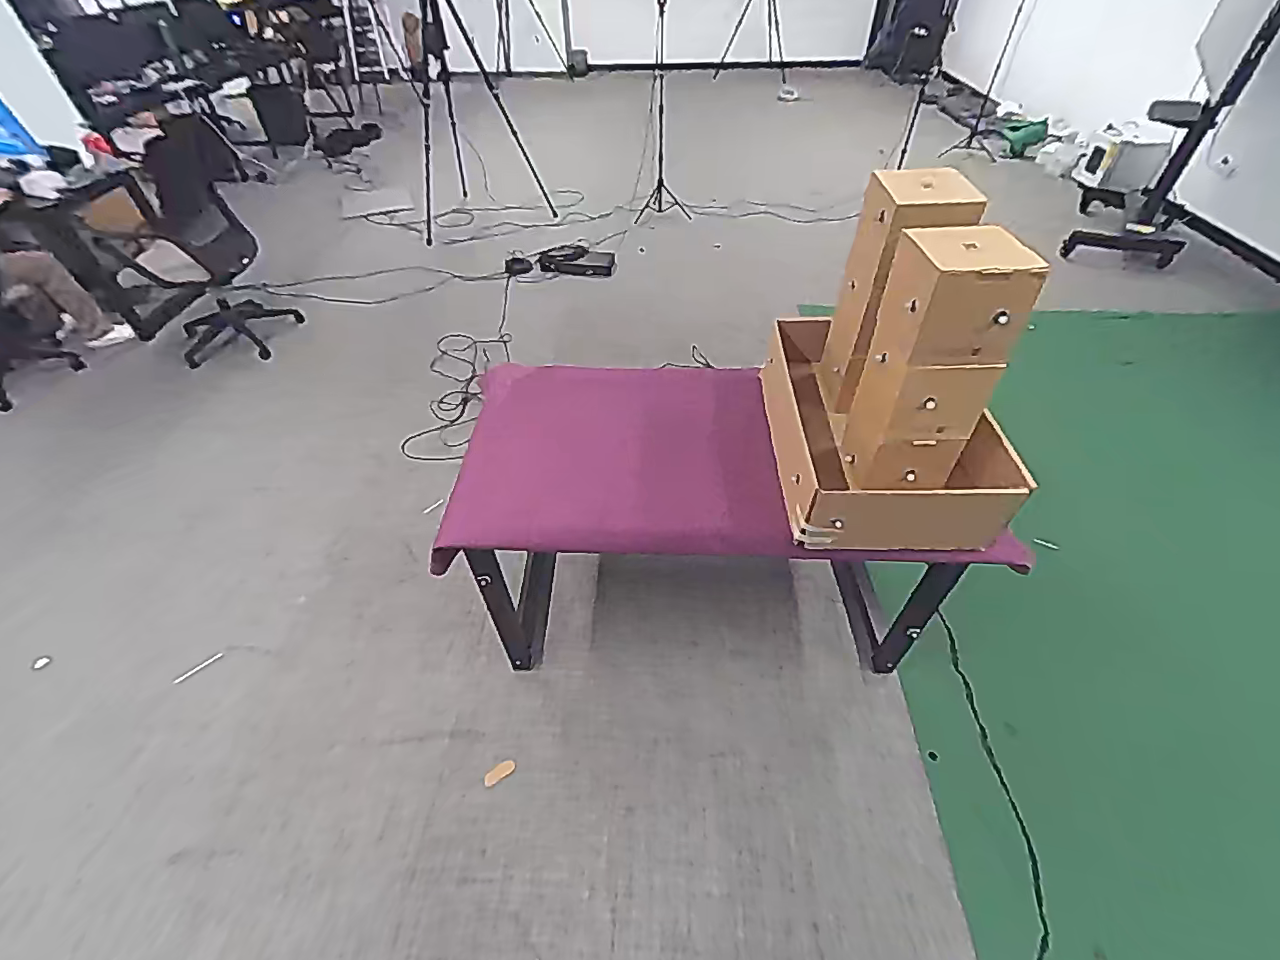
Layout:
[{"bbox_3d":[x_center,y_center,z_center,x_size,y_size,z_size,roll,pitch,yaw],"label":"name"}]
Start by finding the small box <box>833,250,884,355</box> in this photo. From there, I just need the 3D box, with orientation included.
[{"bbox_3d":[0.549,-0.400,1.220,0.168,0.176,0.179,-1,48,2],"label":"small box"}]

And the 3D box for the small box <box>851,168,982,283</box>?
[{"bbox_3d":[0.545,-0.509,1.095,0.168,0.176,0.179,0,48,2],"label":"small box"}]

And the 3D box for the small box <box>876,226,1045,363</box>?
[{"bbox_3d":[0.524,-0.310,0.916,0.168,0.176,0.179,-1,44,2],"label":"small box"}]

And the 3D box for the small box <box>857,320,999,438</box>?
[{"bbox_3d":[0.532,-0.192,1.028,0.168,0.176,0.179,-1,45,3],"label":"small box"}]
